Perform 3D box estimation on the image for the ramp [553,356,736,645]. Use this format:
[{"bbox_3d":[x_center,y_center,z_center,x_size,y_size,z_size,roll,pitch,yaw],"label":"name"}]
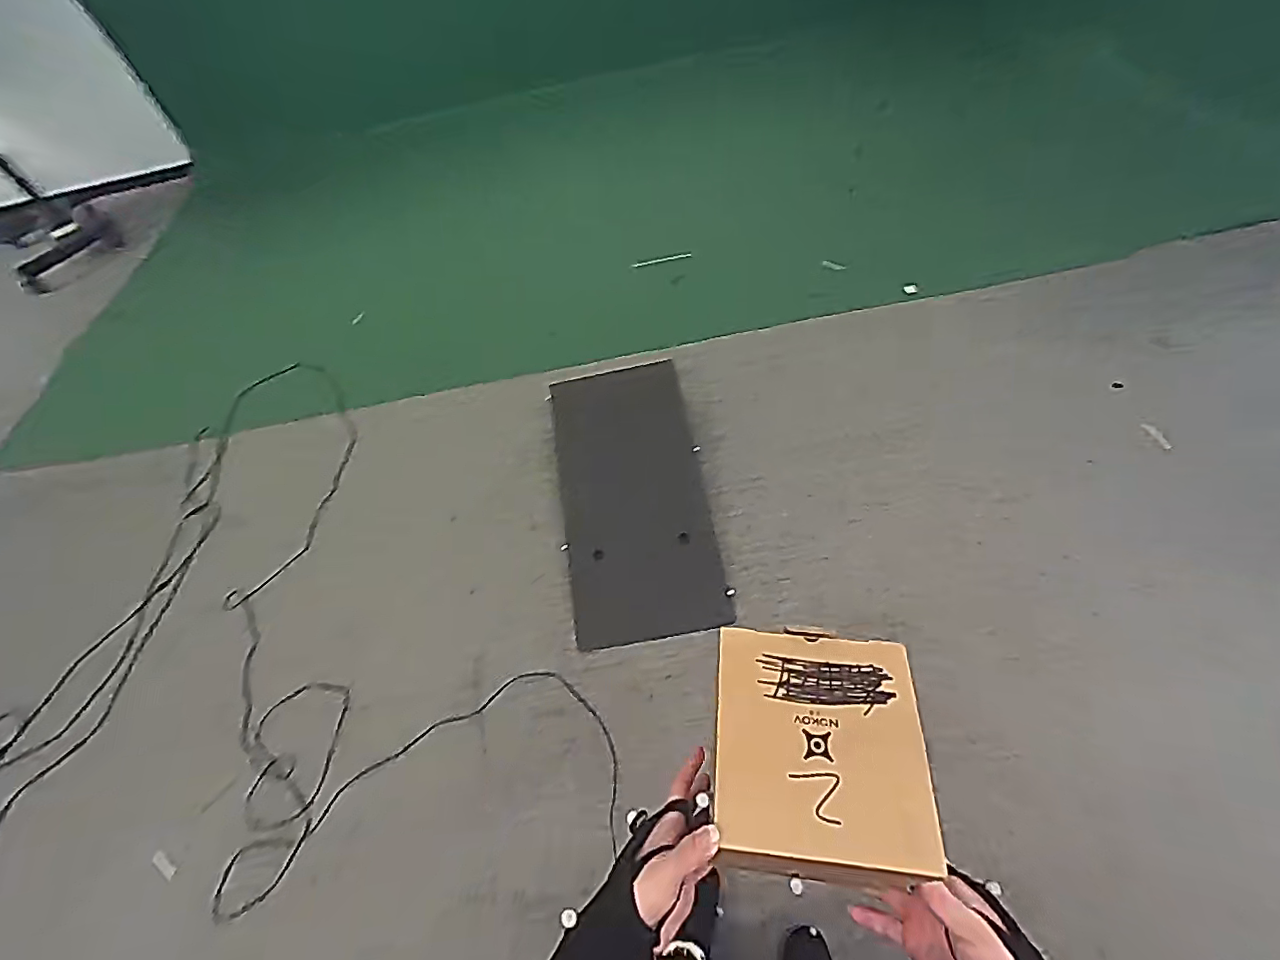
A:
[{"bbox_3d":[-0.018,0.018,1.851,0.509,0.206,0.991,-12,55,1],"label":"ramp"}]
